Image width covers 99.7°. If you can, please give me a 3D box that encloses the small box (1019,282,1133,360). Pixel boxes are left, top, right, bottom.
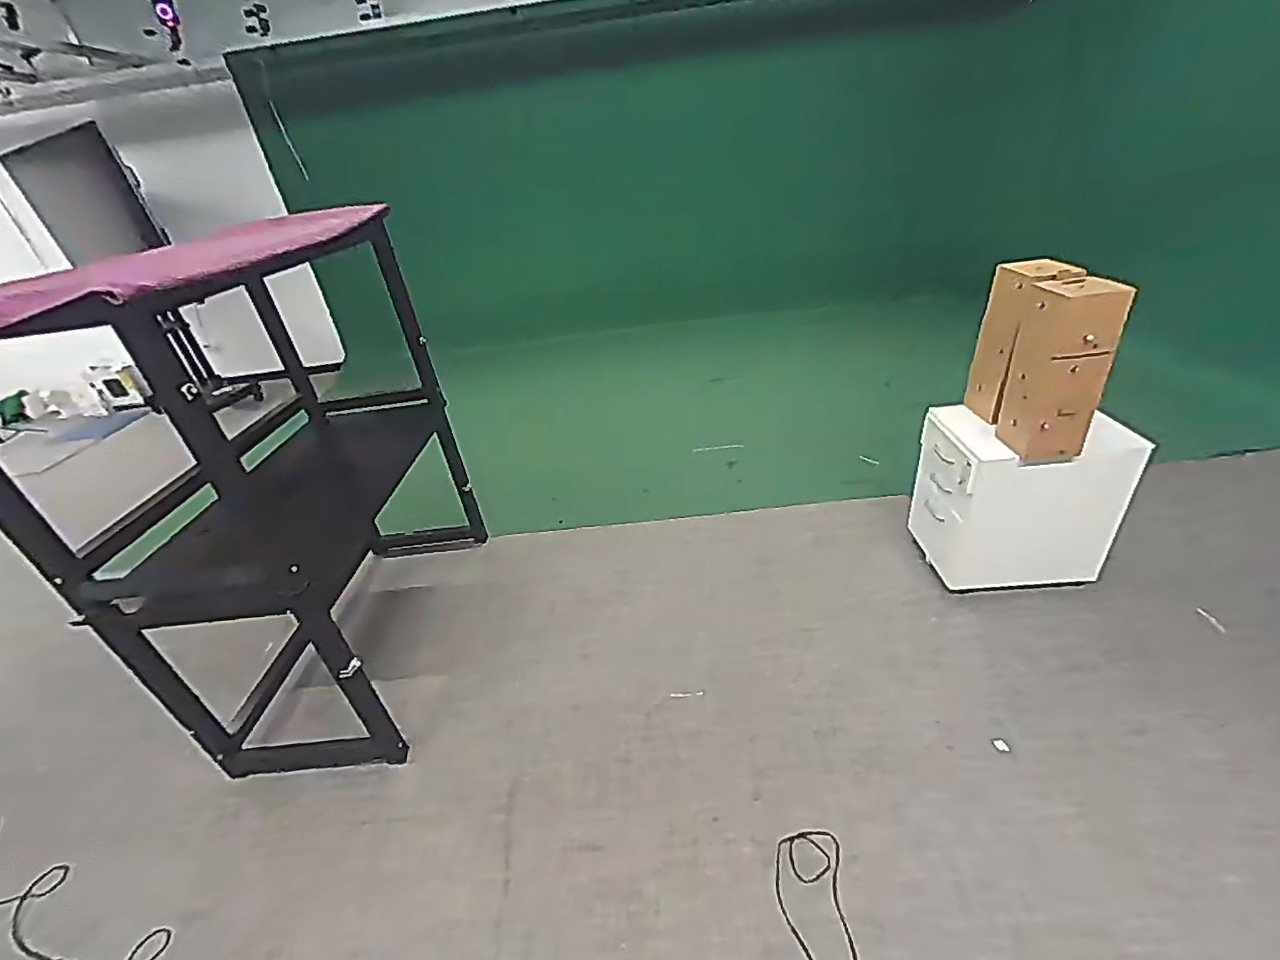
[{"bbox_3d":[1.205,-0.445,1.513,0.168,0.176,0.179,-6,31,4],"label":"small box"}]

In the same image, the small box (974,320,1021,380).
[{"bbox_3d":[1.261,-0.440,1.811,0.168,0.176,0.179,-7,32,-1],"label":"small box"}]

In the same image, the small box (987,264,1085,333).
[{"bbox_3d":[1.248,-0.577,1.723,0.168,0.176,0.179,-7,33,0],"label":"small box"}]

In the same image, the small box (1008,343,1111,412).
[{"bbox_3d":[1.228,-0.308,1.601,0.179,0.176,0.168,-5,31,4],"label":"small box"}]
